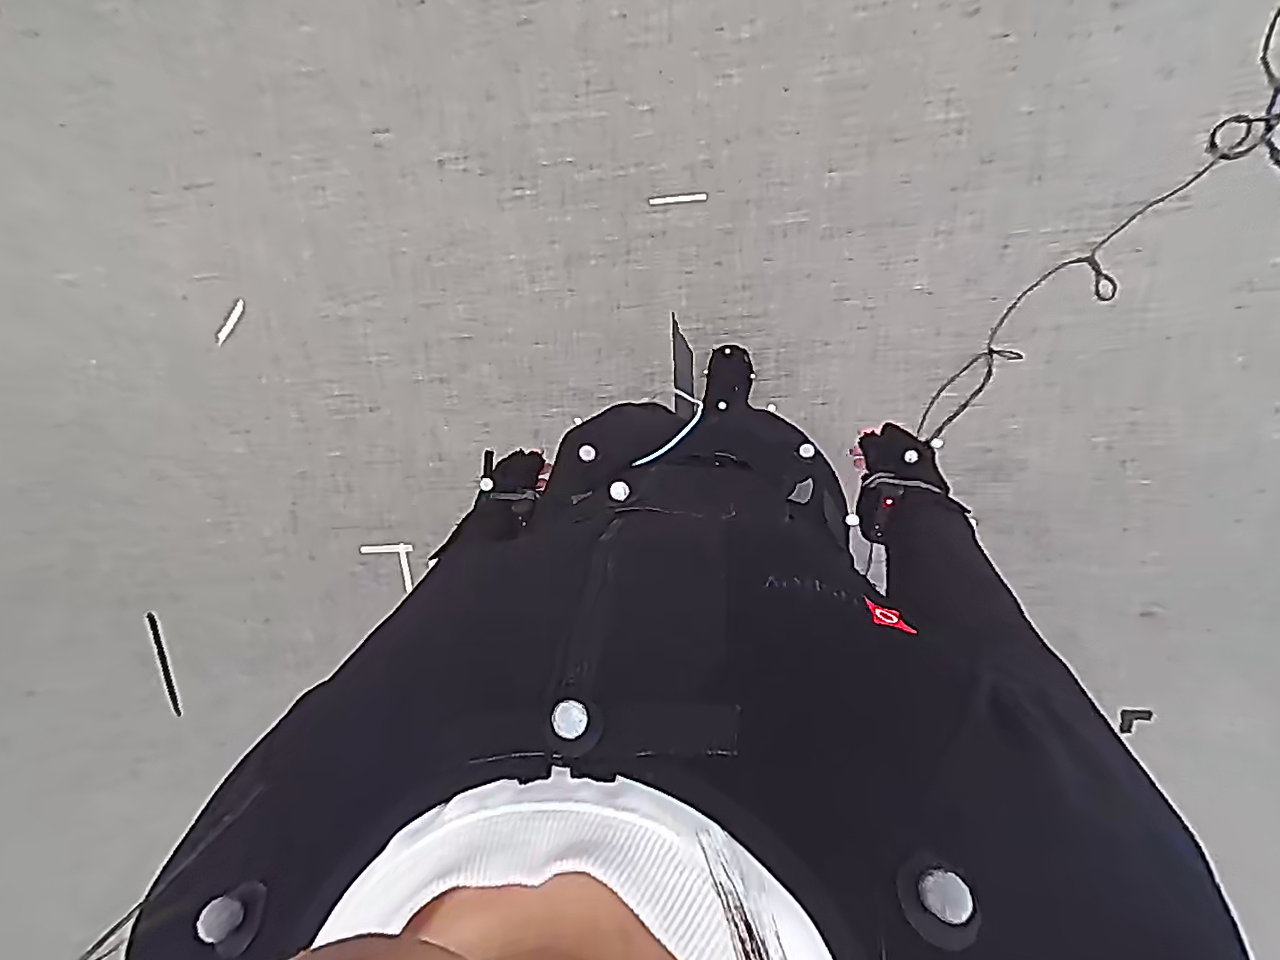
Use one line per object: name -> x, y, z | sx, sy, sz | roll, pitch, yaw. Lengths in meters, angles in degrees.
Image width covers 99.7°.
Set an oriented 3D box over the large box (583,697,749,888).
large box -> 0.089, 0.825, 1.474 | 0.408, 0.320, 0.320 | 0, 101, 11
